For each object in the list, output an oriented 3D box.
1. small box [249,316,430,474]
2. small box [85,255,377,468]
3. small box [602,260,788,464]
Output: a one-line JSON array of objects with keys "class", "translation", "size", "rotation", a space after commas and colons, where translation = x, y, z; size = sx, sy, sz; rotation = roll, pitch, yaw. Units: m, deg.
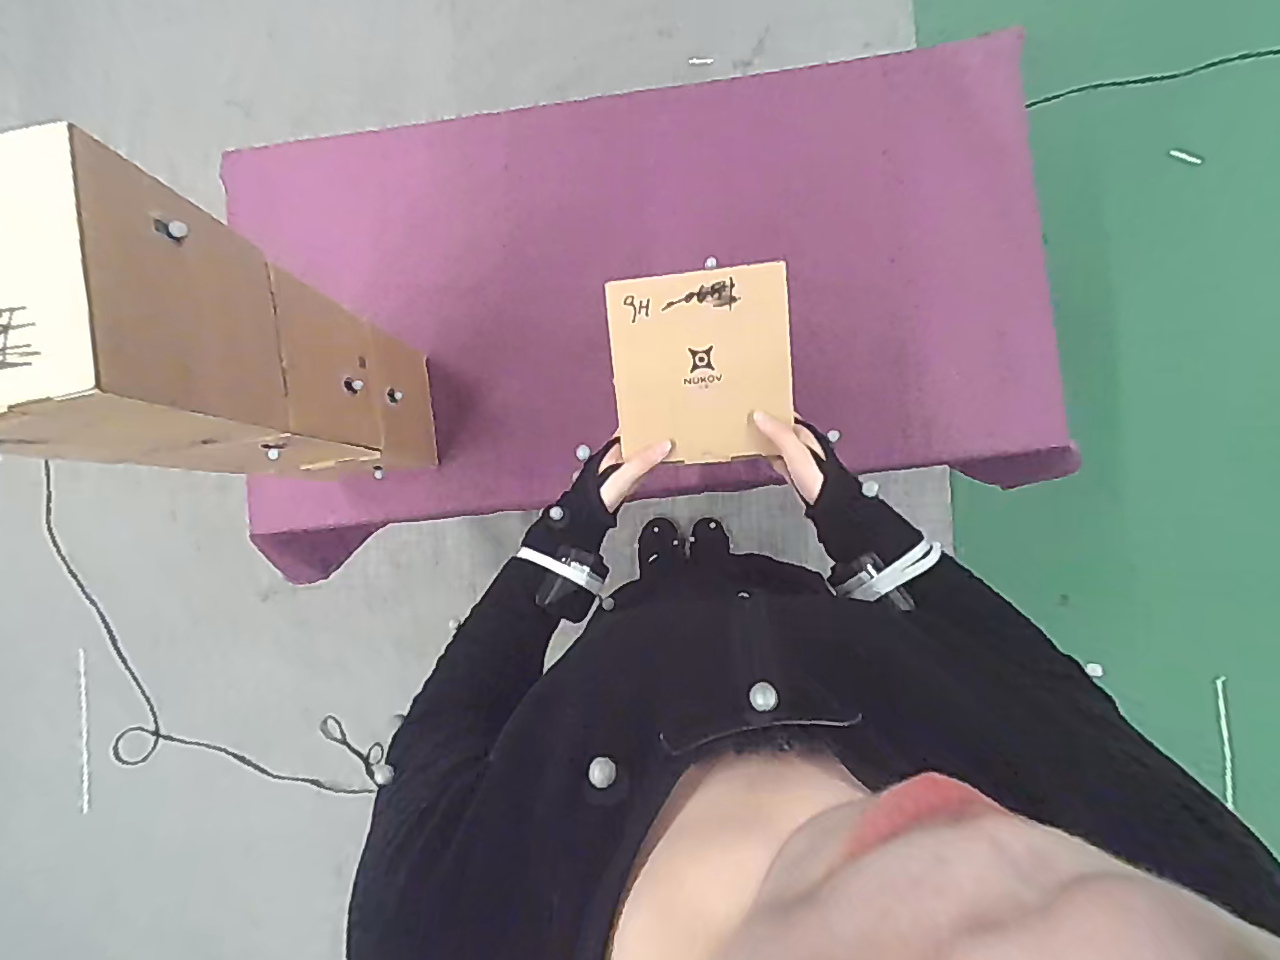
[{"class": "small box", "translation": [-0.401, -0.102, 0.734], "size": [0.168, 0.176, 0.179], "rotation": [-7, 87, 1]}, {"class": "small box", "translation": [-0.413, -0.109, 0.573], "size": [0.179, 0.176, 0.168], "rotation": [-9, 87, 1]}, {"class": "small box", "translation": [0.059, -0.121, 0.579], "size": [0.168, 0.176, 0.179], "rotation": [-5, 100, 5]}]
